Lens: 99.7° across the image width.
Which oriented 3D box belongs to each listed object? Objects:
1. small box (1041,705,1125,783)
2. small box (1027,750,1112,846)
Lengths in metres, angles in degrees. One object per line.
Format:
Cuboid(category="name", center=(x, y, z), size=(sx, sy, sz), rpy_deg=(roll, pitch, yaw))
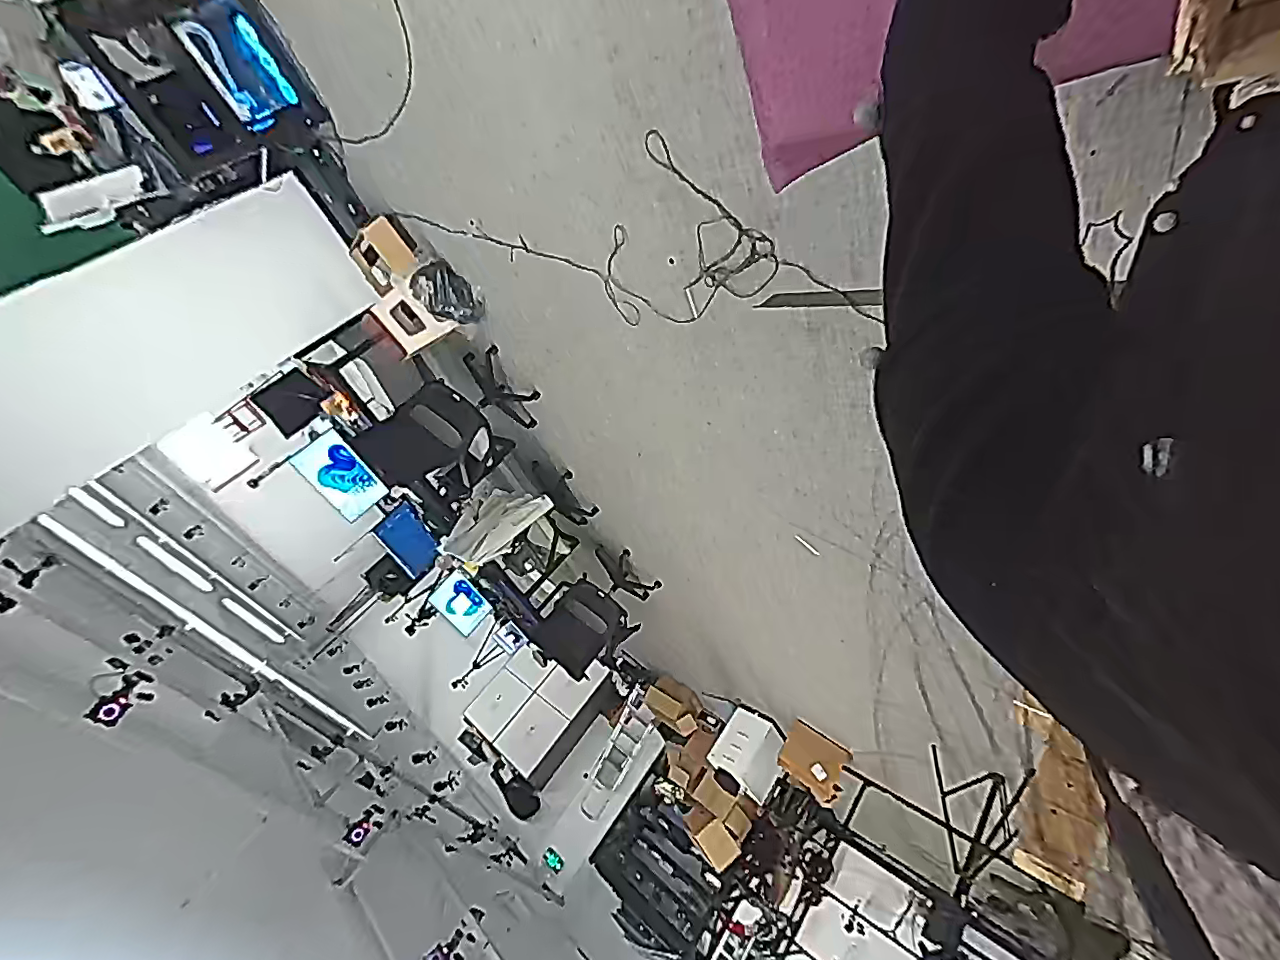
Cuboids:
Cuboid(category="small box", center=(1.430, 0.864, 1.744), size=(0.168, 0.176, 0.179), rpy_deg=(20, 147, 39))
Cuboid(category="small box", center=(1.333, 0.980, 1.679), size=(0.168, 0.176, 0.179), rpy_deg=(18, 144, 41))
